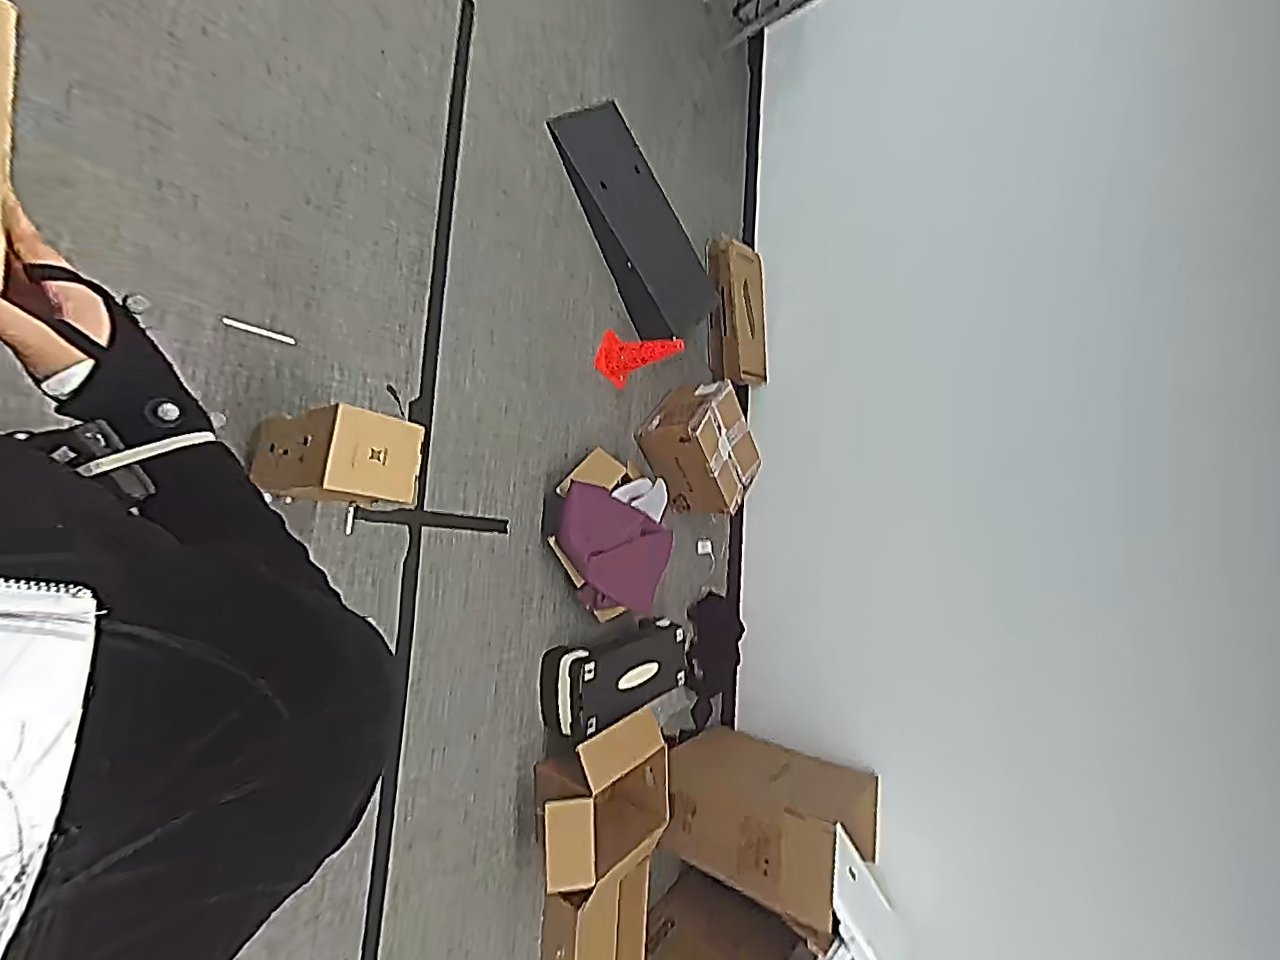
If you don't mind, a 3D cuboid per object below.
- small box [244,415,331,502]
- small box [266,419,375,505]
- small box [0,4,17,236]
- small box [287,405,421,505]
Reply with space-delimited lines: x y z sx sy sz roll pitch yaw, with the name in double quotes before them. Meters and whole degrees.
"small box" -0.834 -0.046 1.319 0.168 0.176 0.179 18 76 -50
"small box" -0.703 -0.041 1.219 0.179 0.176 0.168 18 75 -50
"small box" -0.494 -0.211 0.301 0.168 0.176 0.179 0 103 -58
"small box" -0.584 -0.044 1.107 0.179 0.176 0.168 17 75 -49
